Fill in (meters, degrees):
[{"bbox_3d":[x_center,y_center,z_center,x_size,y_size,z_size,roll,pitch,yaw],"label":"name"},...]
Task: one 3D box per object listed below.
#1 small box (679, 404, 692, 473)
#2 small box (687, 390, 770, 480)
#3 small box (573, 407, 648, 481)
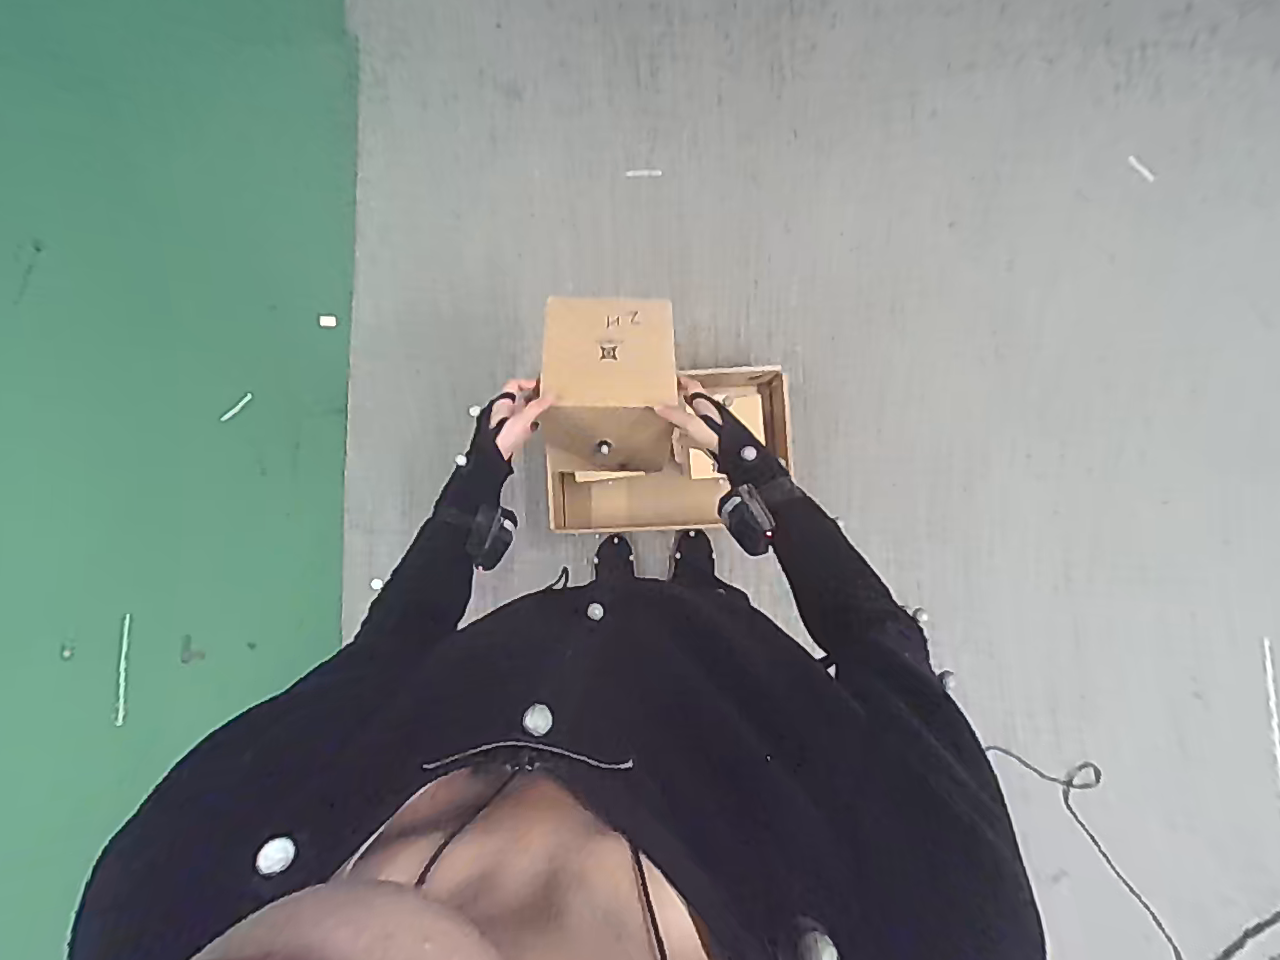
[{"bbox_3d":[0.197,-0.112,1.405,0.179,0.176,0.168,-8,88,2],"label":"small box"},{"bbox_3d":[0.196,-0.097,1.241,0.168,0.176,0.179,-4,86,4],"label":"small box"},{"bbox_3d":[-0.073,-0.089,1.419,0.179,0.176,0.168,-6,87,0],"label":"small box"}]
